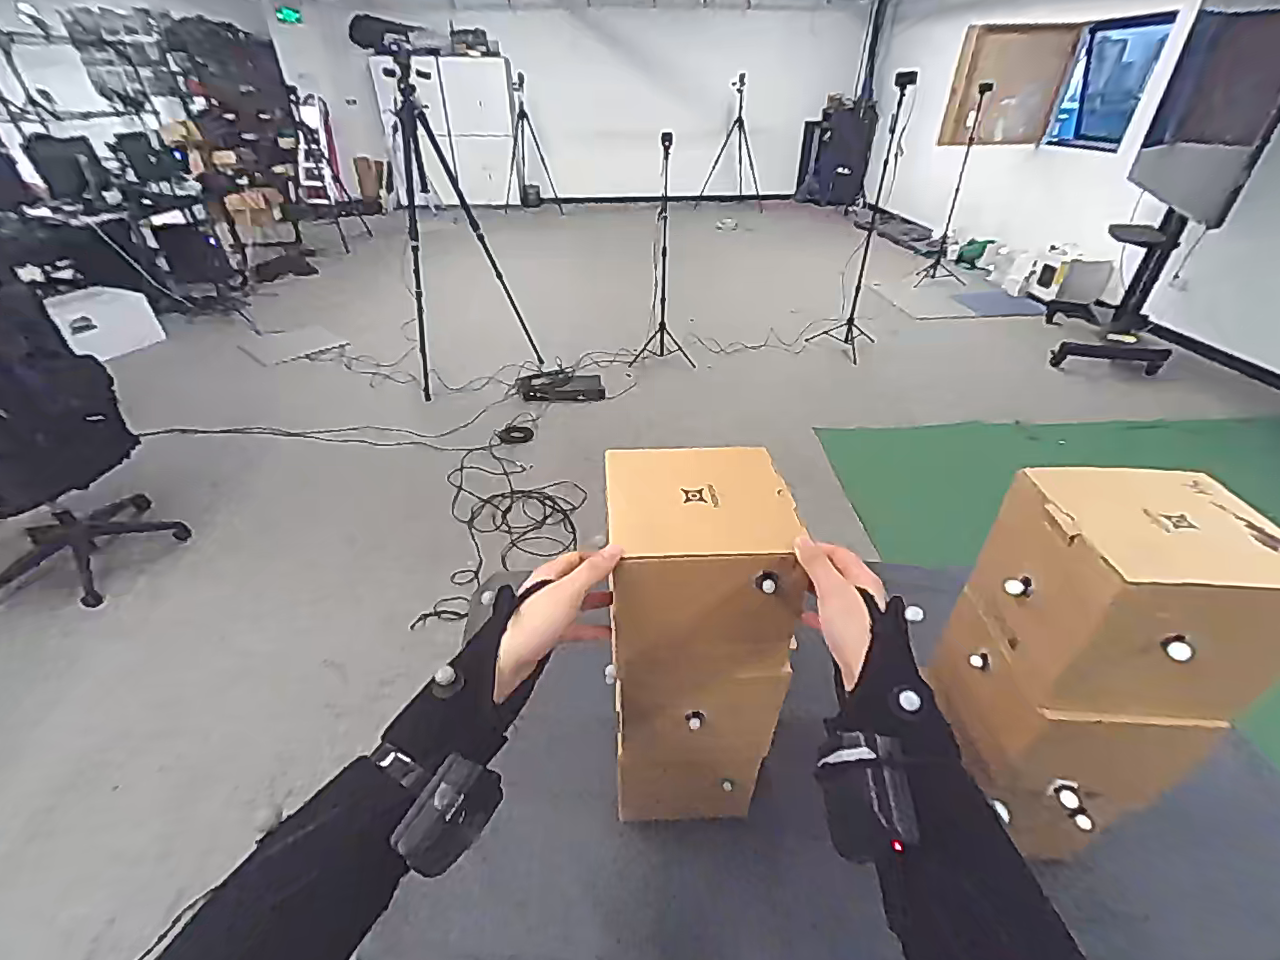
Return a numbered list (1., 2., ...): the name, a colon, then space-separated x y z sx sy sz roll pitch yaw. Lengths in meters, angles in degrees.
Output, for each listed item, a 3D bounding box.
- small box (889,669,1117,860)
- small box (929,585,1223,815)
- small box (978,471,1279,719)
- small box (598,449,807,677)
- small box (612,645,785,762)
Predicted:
1. small box: 0.458 0.371 0.708 0.179 0.176 0.168 0 34 1
2. small box: 0.456 0.242 0.610 0.168 0.176 0.179 1 36 4
3. small box: 0.457 0.106 0.518 0.179 0.176 0.168 1 35 5
4. small box: 0.048 0.083 0.554 0.179 0.176 0.168 -2 36 -5
5. small box: 0.057 0.215 0.649 0.179 0.176 0.168 -2 36 -1
